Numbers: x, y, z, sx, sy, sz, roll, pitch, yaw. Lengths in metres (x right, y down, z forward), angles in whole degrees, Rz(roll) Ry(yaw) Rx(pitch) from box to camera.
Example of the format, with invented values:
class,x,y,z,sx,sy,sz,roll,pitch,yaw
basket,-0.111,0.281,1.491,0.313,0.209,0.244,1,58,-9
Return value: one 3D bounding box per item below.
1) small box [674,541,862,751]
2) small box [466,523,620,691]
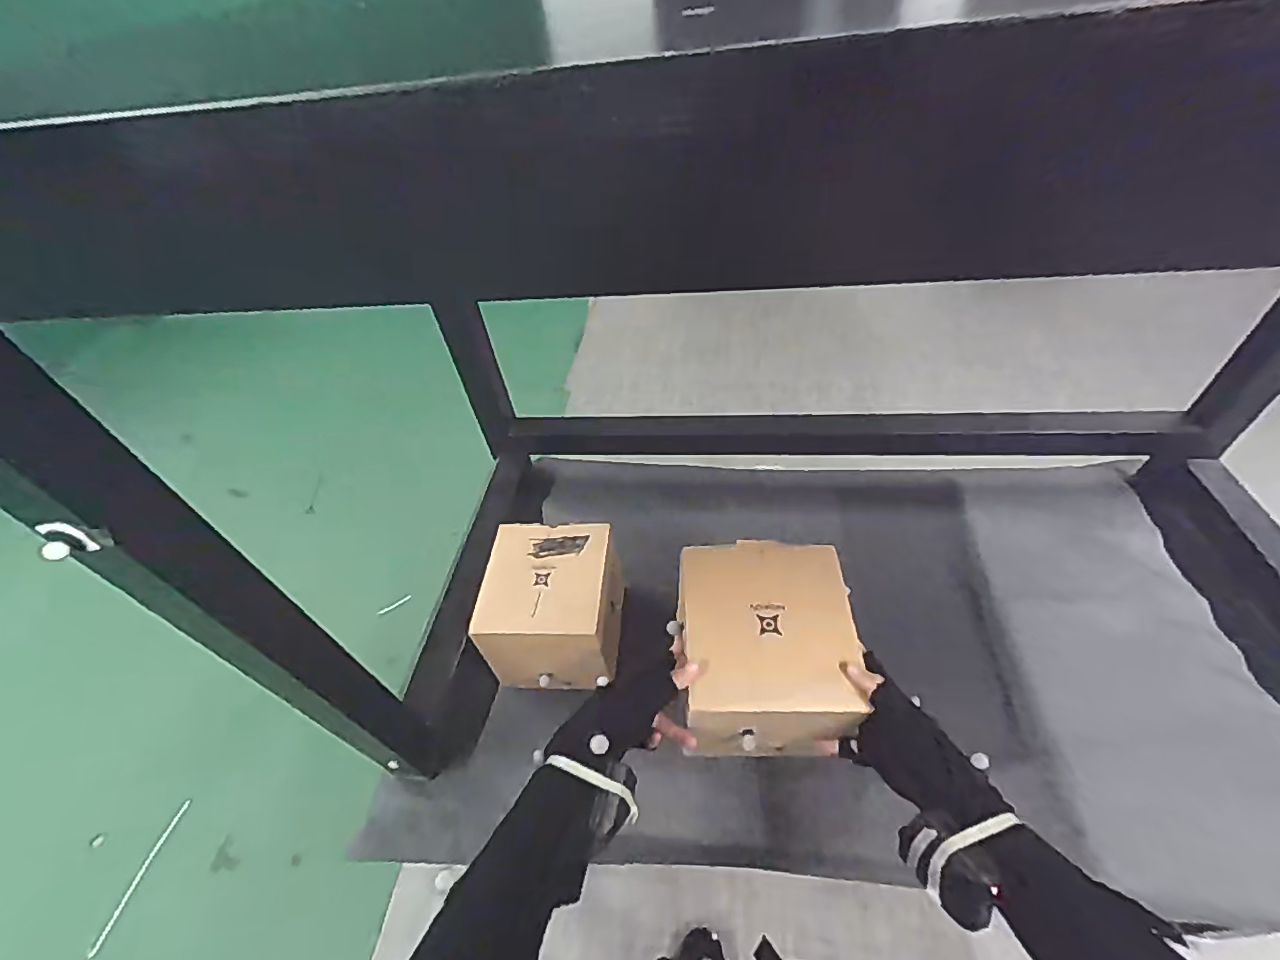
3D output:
class,x,y,z,sx,sy,sz,roll,pitch,yaw
small box,0.122,0.185,0.591,0.168,0.176,0.179,-1,50,2
small box,-0.123,0.180,0.778,0.168,0.176,0.179,-1,46,7
